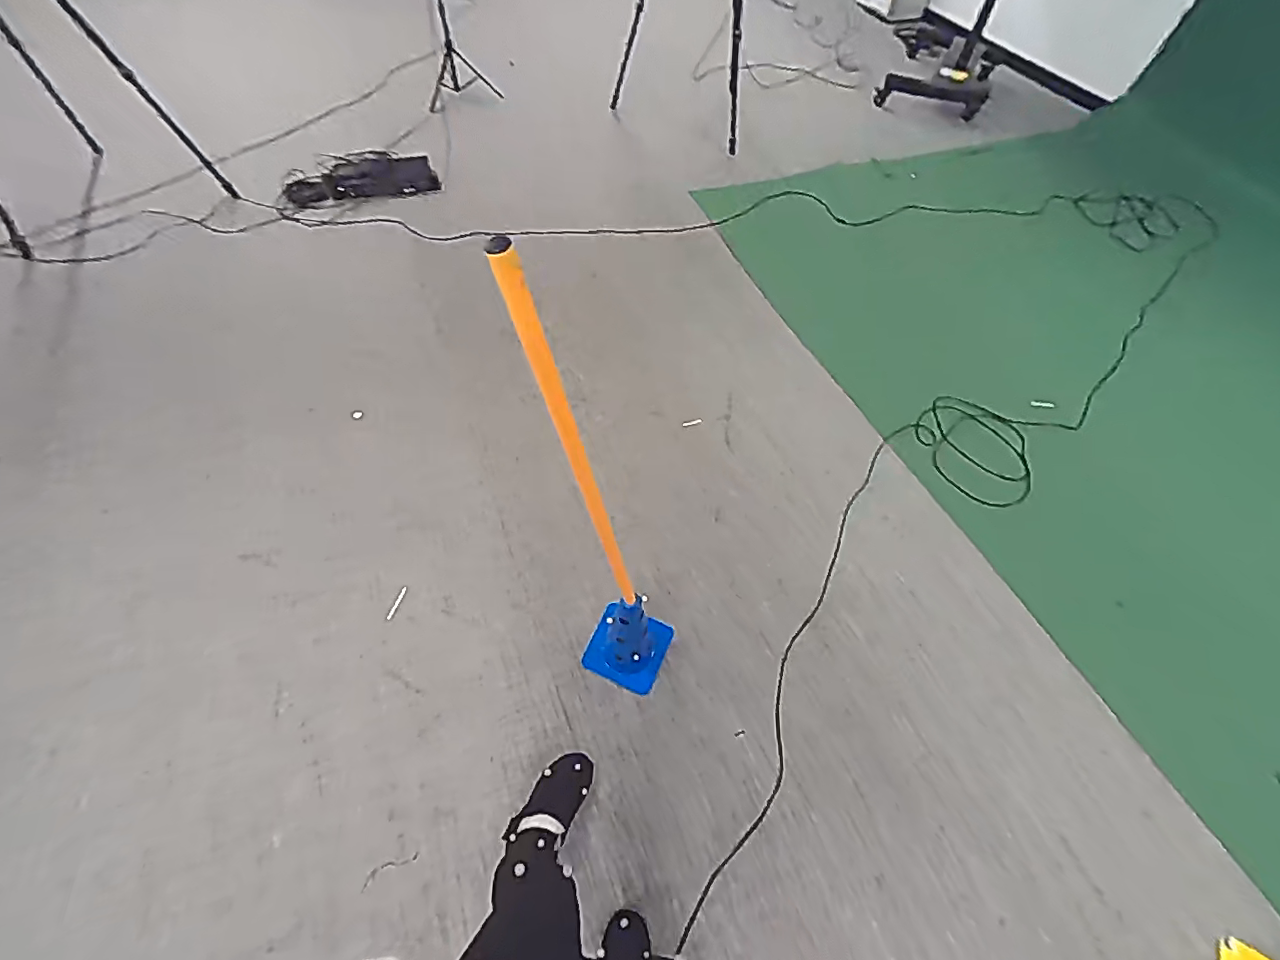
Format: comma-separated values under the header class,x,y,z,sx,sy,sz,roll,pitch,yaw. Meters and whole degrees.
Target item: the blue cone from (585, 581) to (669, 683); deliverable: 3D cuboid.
class,x,y,z,sx,sy,sz,roll,pitch,yaw
blue cone,-0.031,0.337,1.291,0.193,0.380,0.192,20,59,11
